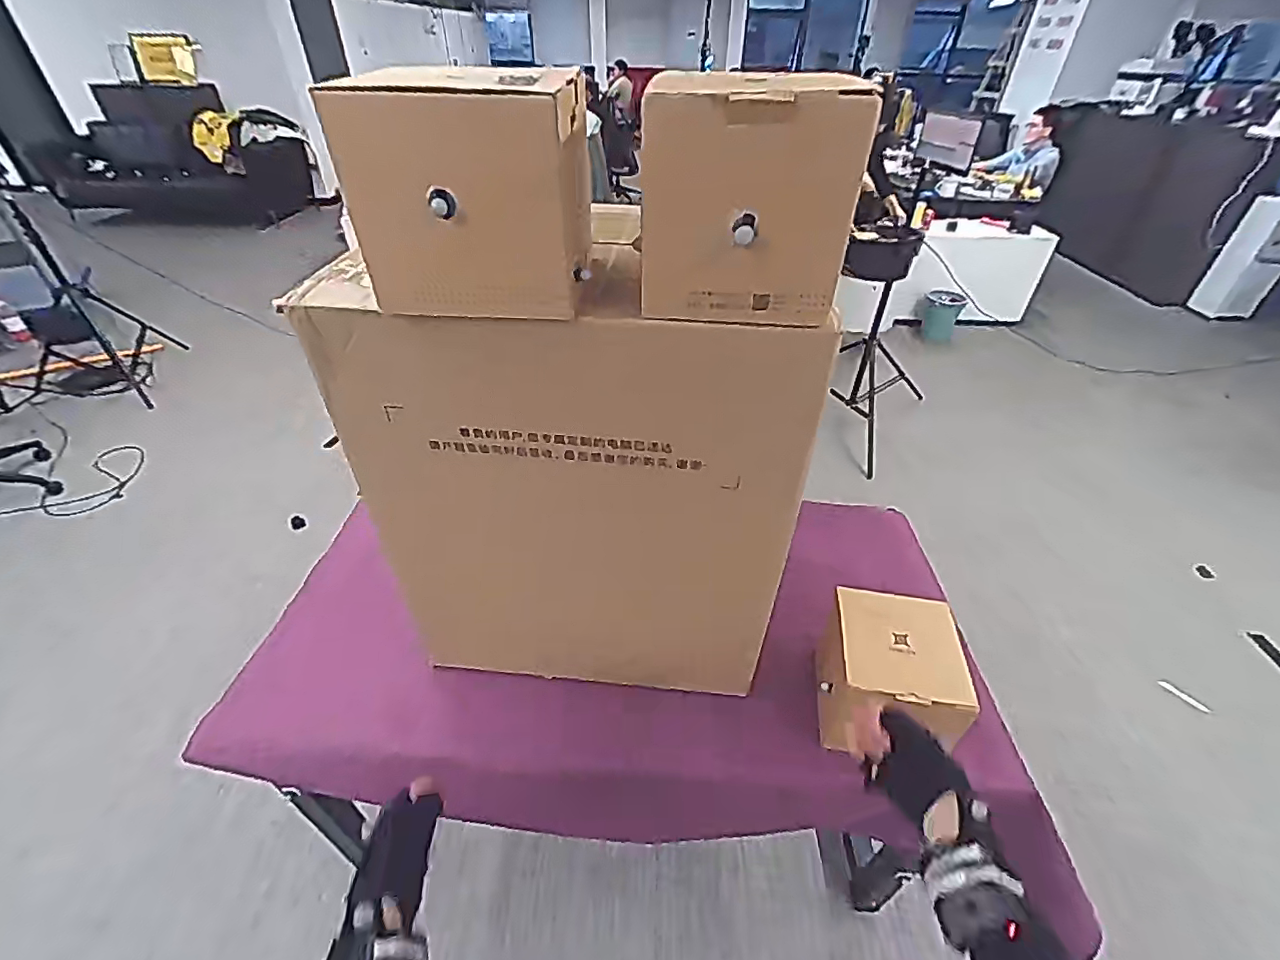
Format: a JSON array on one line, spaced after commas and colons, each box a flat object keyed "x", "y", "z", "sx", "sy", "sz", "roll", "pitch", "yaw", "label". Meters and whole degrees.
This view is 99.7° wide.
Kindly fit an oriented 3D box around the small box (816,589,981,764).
[{"x": 0.369, "y": 0.294, "z": 0.810, "sx": 0.168, "sy": 0.176, "sz": 0.179, "roll": 8, "pitch": 38, "yaw": 7, "label": "small box"}]

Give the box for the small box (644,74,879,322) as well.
[{"x": 0.095, "y": -0.256, "z": 0.491, "sx": 0.168, "sy": 0.176, "sz": 0.179, "roll": 5, "pitch": 41, "yaw": 4, "label": "small box"}]

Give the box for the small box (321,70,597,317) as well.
[{"x": -0.136, "y": -0.258, "z": 0.490, "sx": 0.179, "sy": 0.176, "sz": 0.168, "roll": 1, "pitch": 40, "yaw": 3, "label": "small box"}]
